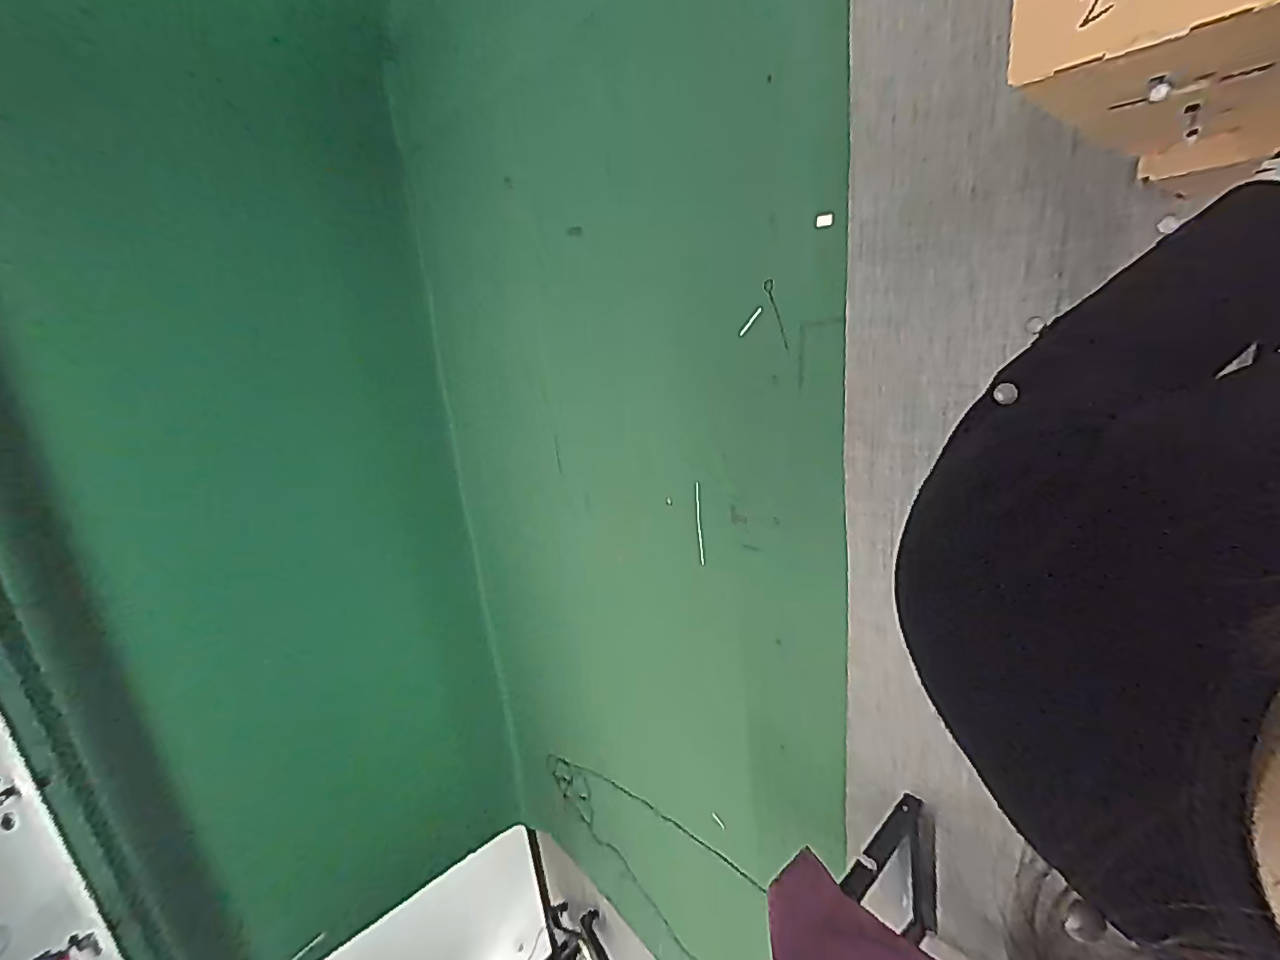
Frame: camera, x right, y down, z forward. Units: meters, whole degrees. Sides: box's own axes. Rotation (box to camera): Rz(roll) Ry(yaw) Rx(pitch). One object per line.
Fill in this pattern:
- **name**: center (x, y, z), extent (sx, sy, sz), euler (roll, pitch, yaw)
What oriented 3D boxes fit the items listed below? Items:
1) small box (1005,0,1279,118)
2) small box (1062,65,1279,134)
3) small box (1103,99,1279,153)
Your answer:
- **small box**: center (0.405, -0.407, 0.409), extent (0.168, 0.176, 0.179), euler (14, 116, 47)
- **small box**: center (0.531, -0.447, 0.509), extent (0.168, 0.176, 0.179), euler (14, 117, 47)
- **small box**: center (0.652, -0.495, 0.608), extent (0.168, 0.176, 0.179), euler (12, 115, 47)
